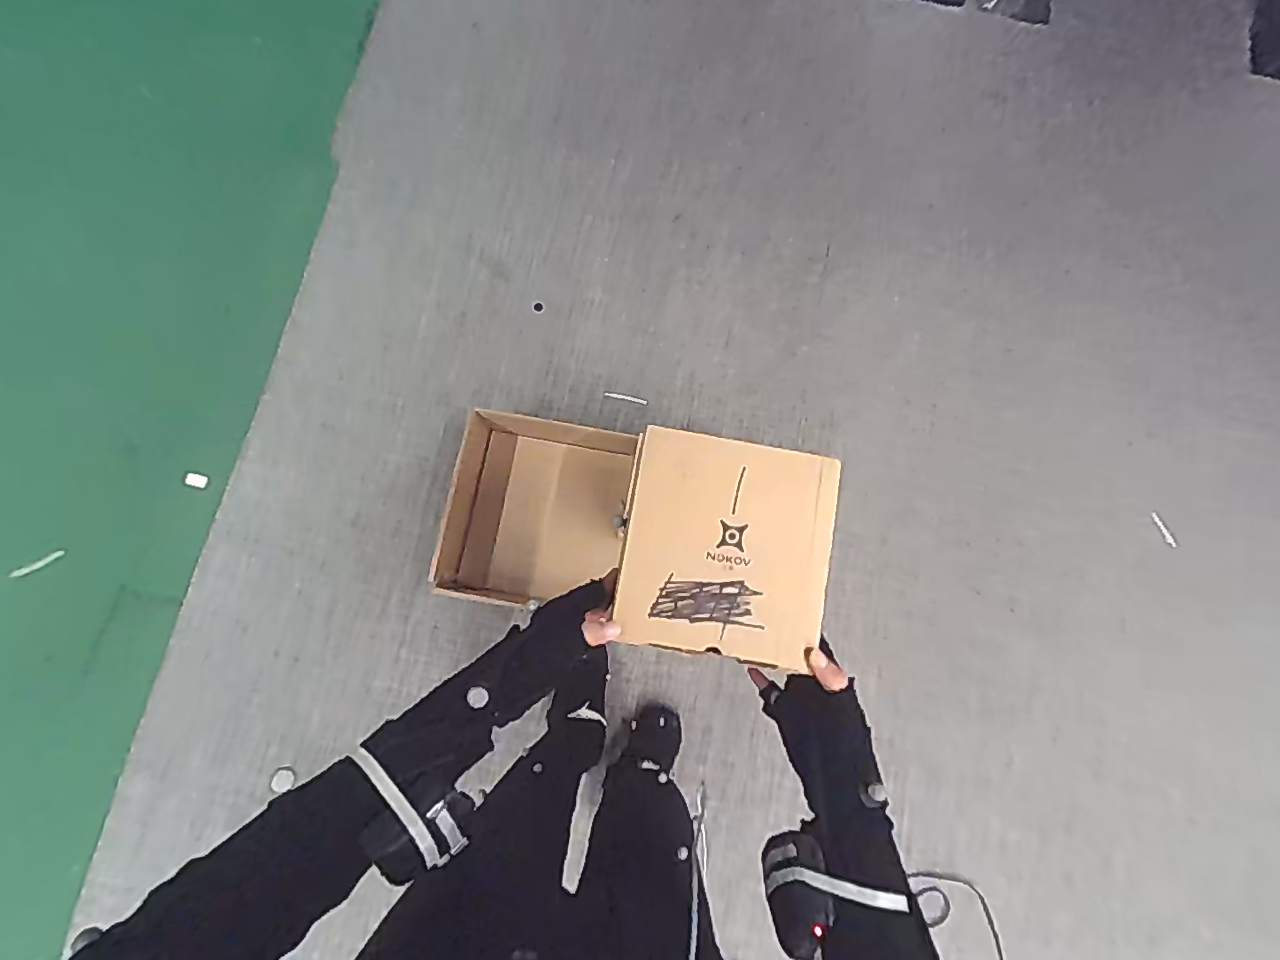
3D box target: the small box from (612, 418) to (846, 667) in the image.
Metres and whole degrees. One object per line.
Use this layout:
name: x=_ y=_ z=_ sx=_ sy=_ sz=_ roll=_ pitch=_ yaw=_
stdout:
small box: x=0.071 y=0.058 z=0.513 sx=0.168 sy=0.176 sz=0.179 roll=11 pitch=82 yaw=-2

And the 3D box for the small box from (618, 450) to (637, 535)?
small box: x=0.045 y=0.044 z=1.191 sx=0.168 sy=0.176 sz=0.179 roll=6 pitch=80 yaw=0

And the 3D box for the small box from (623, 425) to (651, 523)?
small box: x=0.066 y=0.015 z=1.012 sx=0.168 sy=0.176 sz=0.179 roll=11 pitch=80 yaw=0
